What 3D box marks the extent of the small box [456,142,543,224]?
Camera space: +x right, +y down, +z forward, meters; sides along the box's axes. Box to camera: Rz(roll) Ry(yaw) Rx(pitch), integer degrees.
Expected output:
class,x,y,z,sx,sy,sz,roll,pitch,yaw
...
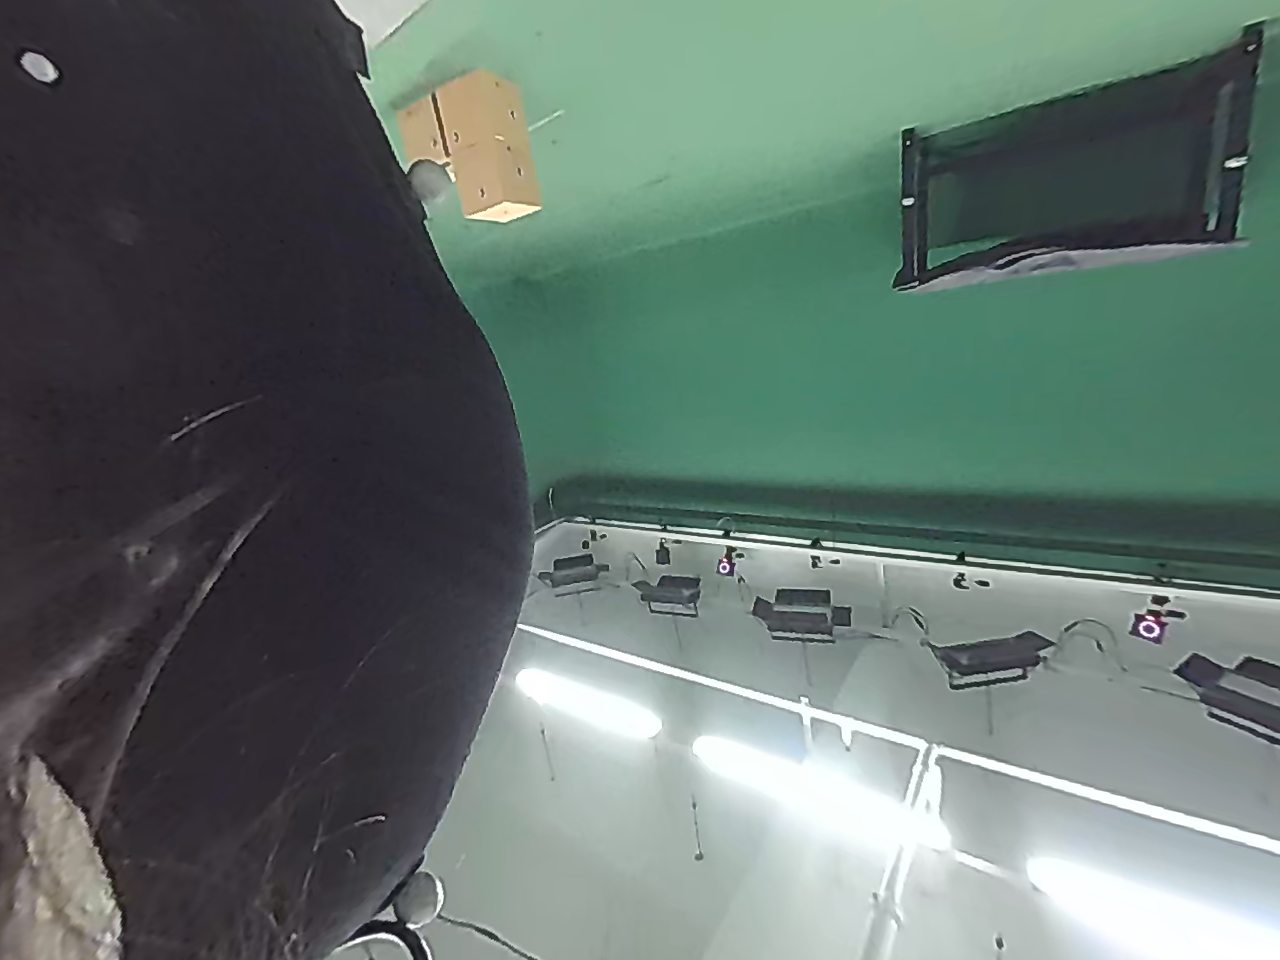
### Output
class,x,y,z,sx,sy,sz,roll,pitch,yaw
small box,-0.418,-0.874,1.599,0.179,0.176,0.168,1,-162,32
